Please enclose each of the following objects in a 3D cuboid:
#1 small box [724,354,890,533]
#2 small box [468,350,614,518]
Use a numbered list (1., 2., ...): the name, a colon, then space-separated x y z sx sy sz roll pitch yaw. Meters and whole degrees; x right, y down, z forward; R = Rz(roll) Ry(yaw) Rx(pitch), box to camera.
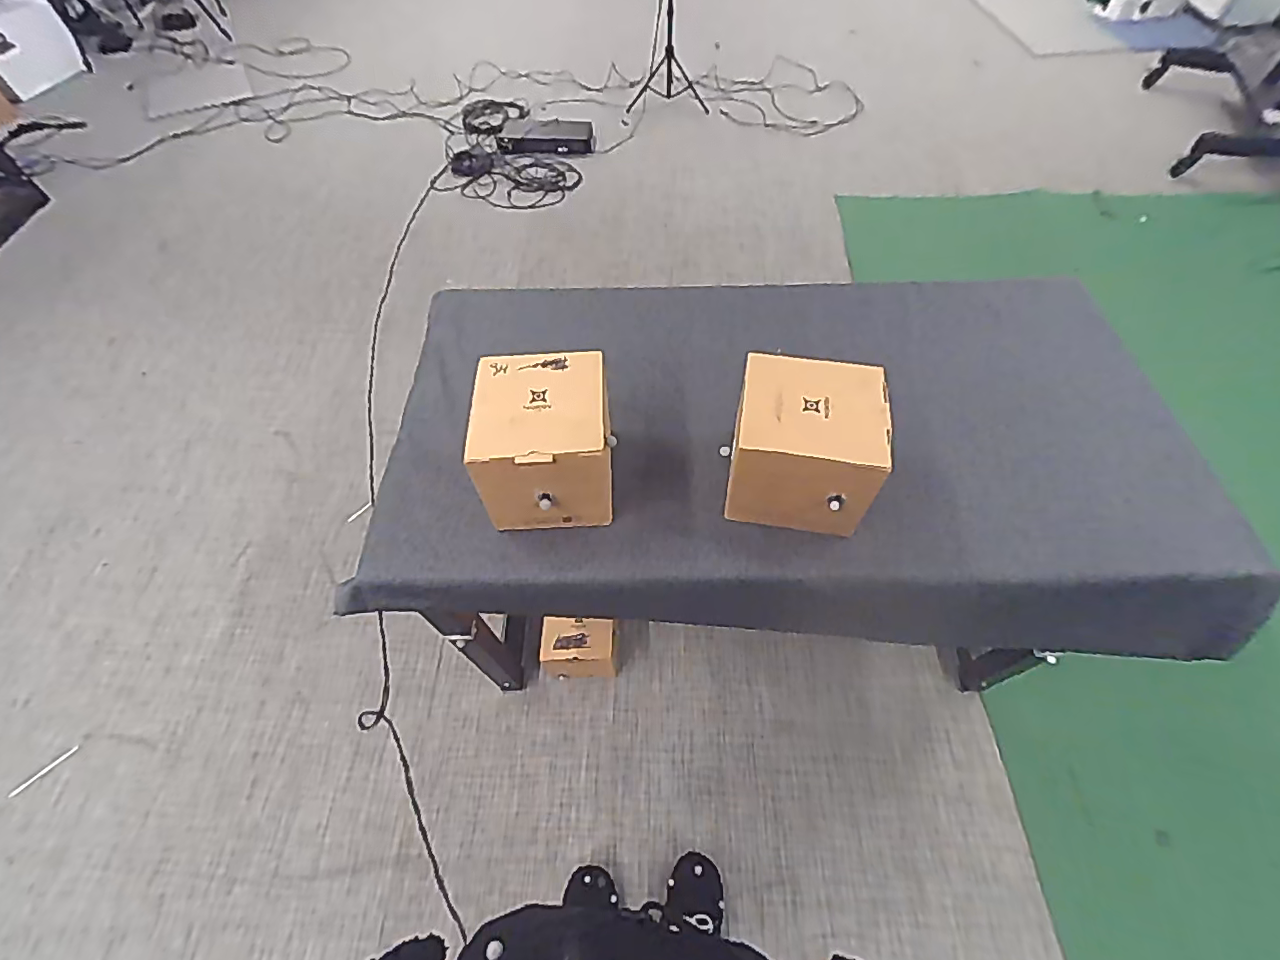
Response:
1. small box: 0.217 -0.044 0.734 0.179 0.176 0.168 8 57 7
2. small box: -0.123 -0.055 0.746 0.168 0.176 0.179 -2 57 -1
